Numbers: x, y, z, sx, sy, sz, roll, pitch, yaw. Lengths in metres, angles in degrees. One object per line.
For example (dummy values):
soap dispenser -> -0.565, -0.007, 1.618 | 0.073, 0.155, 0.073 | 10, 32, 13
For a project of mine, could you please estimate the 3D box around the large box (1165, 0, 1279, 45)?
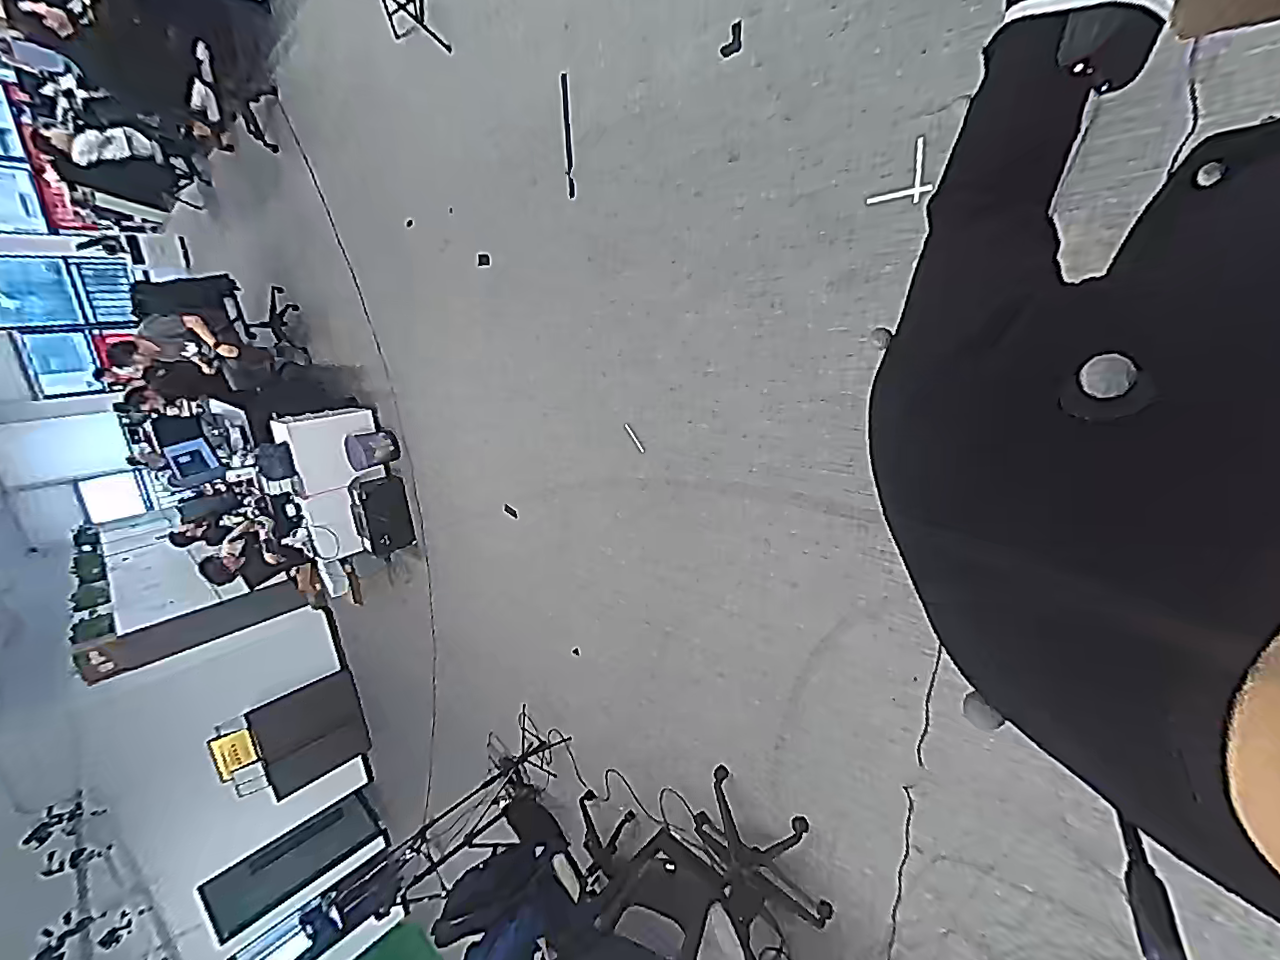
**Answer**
large box -> 0.561, -0.480, 0.257 | 0.408, 0.320, 0.320 | 19, 122, 41
